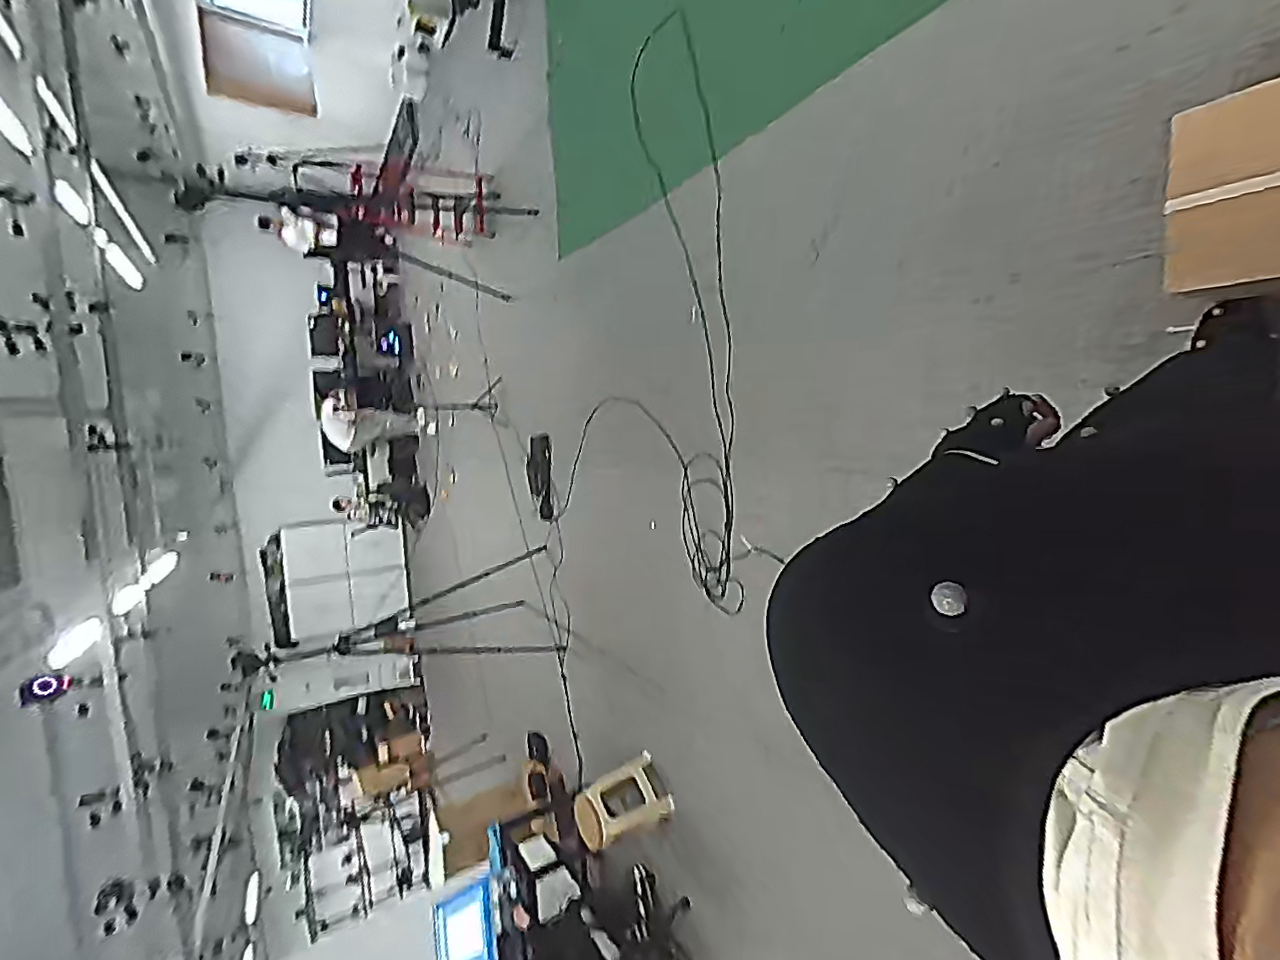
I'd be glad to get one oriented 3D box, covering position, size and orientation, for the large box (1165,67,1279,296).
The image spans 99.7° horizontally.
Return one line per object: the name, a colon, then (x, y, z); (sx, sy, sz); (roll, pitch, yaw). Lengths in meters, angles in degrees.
large box: (1.188, -0.512, 0.892); (0.408, 0.320, 0.320); (9, 105, 55)
